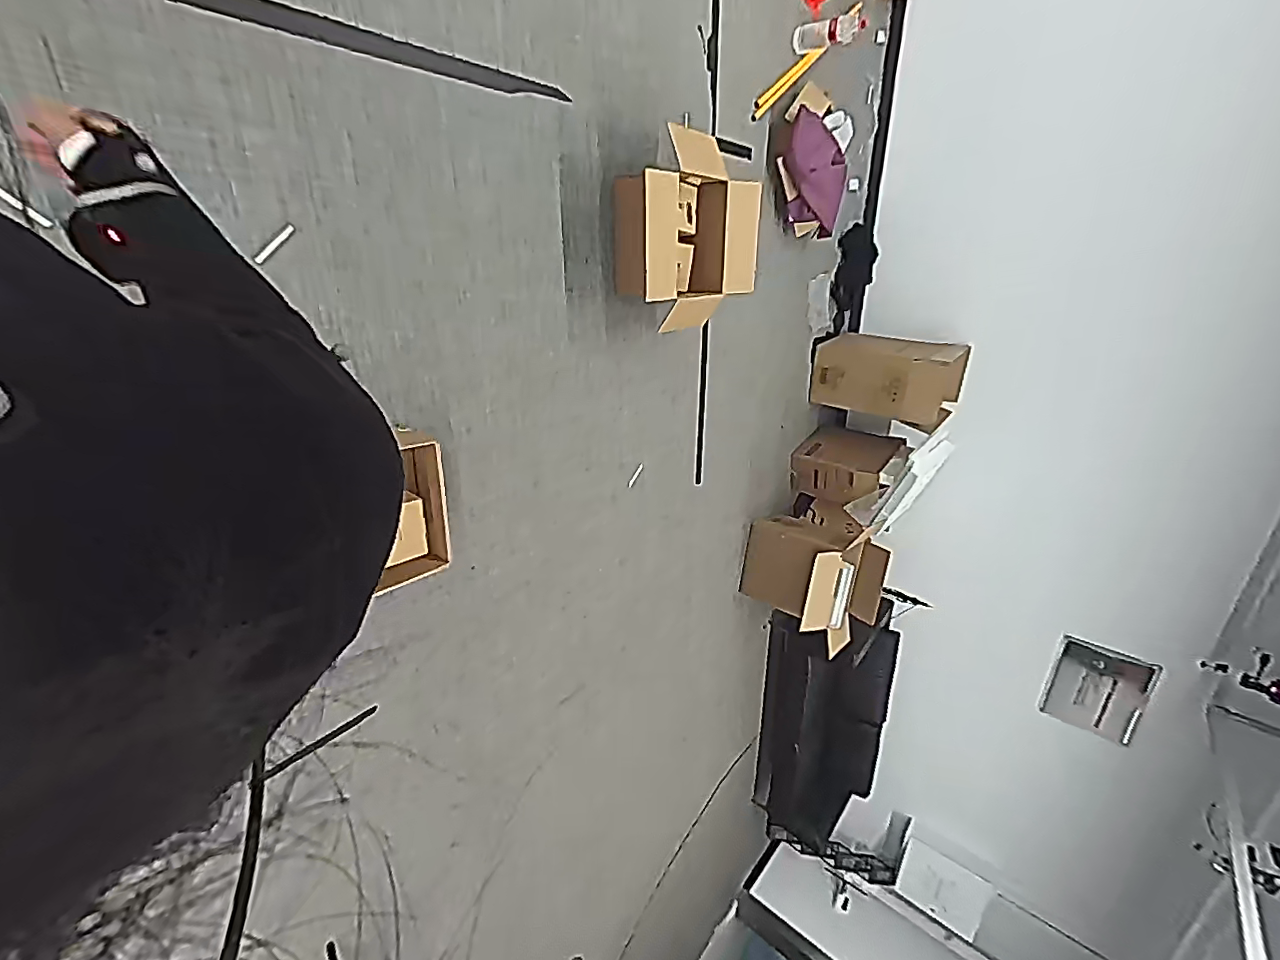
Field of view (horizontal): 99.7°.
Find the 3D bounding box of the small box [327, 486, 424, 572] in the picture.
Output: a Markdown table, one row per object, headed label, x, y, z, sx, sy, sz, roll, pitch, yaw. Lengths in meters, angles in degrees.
| label | x | y | z | sx | sy | sz | roll | pitch | yaw |
| --- | --- | --- | --- | --- | --- | --- | --- | --- | --- |
| small box | -0.718 | 0.123 | 1.473 | 0.179 | 0.176 | 0.168 | -19 | 116 | -45 |
